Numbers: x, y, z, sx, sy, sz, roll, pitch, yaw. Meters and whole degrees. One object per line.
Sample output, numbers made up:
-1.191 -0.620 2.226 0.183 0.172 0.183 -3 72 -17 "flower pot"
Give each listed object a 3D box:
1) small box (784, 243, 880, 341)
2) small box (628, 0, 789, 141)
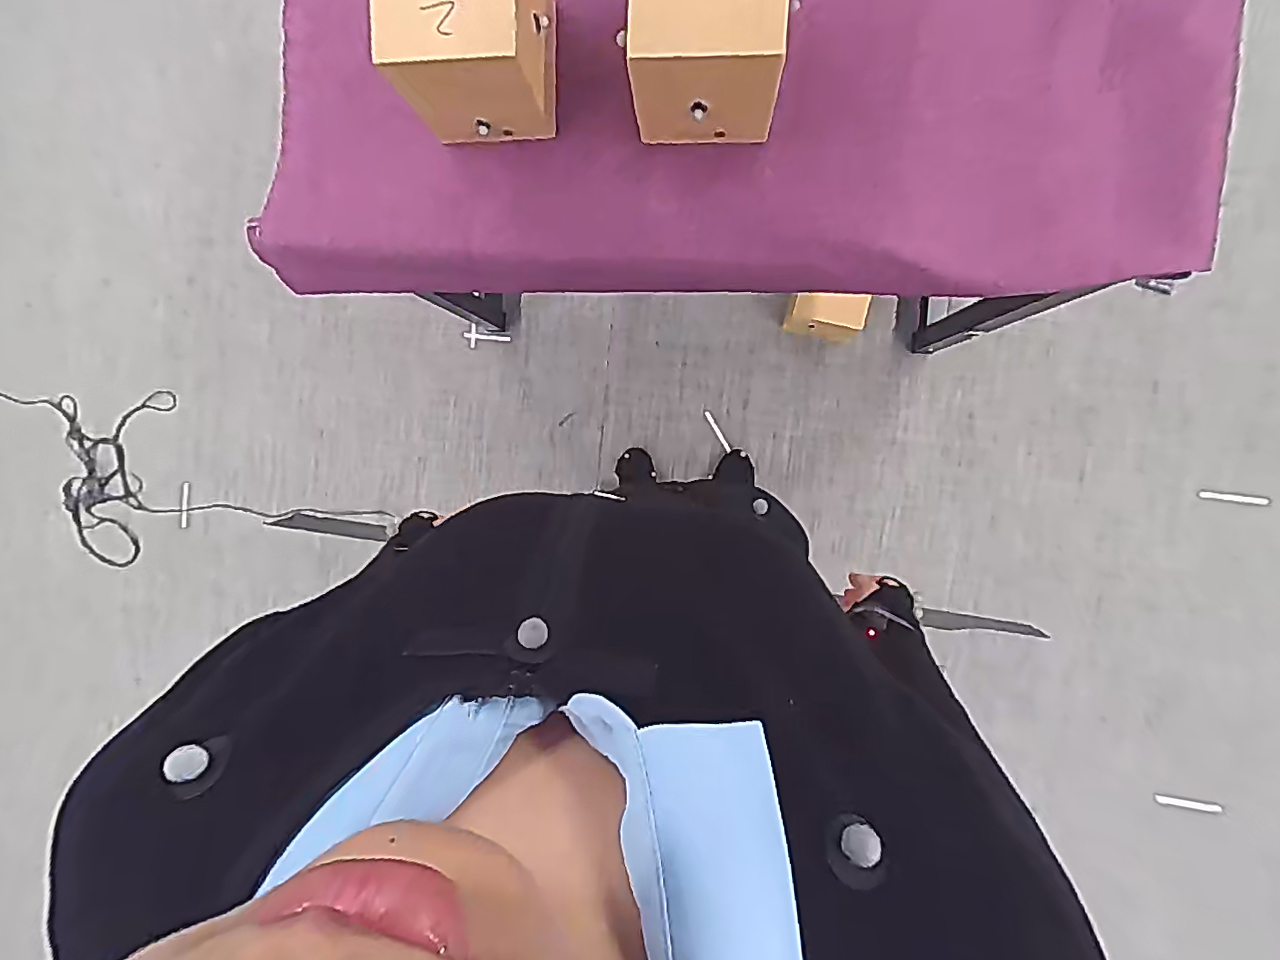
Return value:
0.463 -0.455 1.335 0.168 0.176 0.179 14 95 5 "small box"
0.082 -0.528 0.633 0.168 0.176 0.179 4 94 5 "small box"
